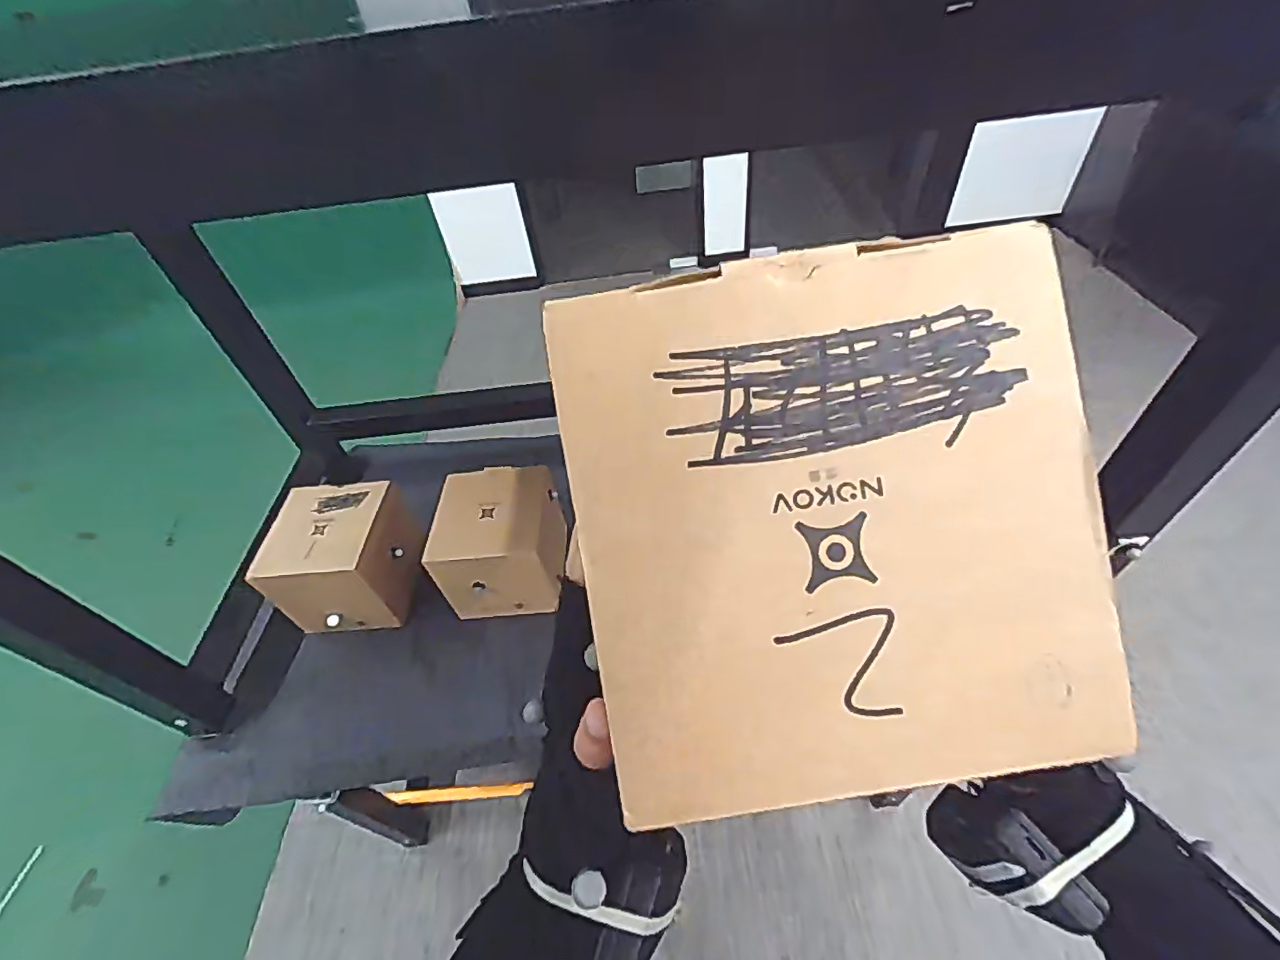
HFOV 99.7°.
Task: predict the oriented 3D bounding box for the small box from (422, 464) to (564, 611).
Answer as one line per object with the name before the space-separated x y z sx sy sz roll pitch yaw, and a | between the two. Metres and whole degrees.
small box | -0.222 0.099 0.871 0.168 0.176 0.179 -5 46 2

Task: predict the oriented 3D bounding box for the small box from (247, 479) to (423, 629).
small box | -0.474 0.121 0.879 0.168 0.176 0.179 -5 47 3
